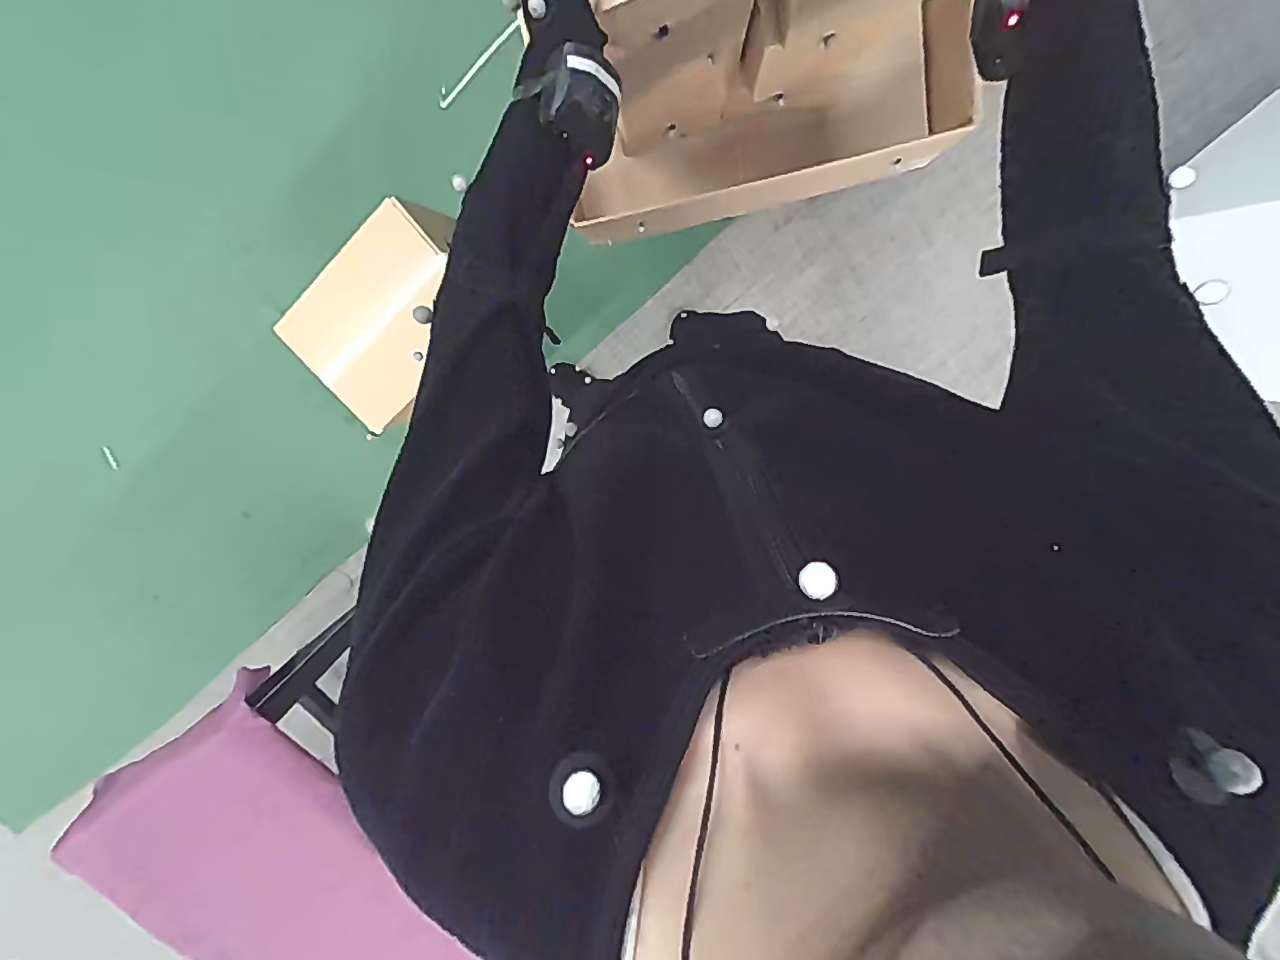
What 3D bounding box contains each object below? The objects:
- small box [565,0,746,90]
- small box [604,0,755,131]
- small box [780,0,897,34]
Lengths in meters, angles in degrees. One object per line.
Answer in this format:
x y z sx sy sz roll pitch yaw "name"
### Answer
0.003 -0.512 0.502 0.179 0.176 0.168 -18 104 9 "small box"
0.016 -0.571 0.656 0.179 0.176 0.168 -27 103 11 "small box"
0.207 -0.545 0.476 0.179 0.176 0.168 -10 107 14 "small box"
